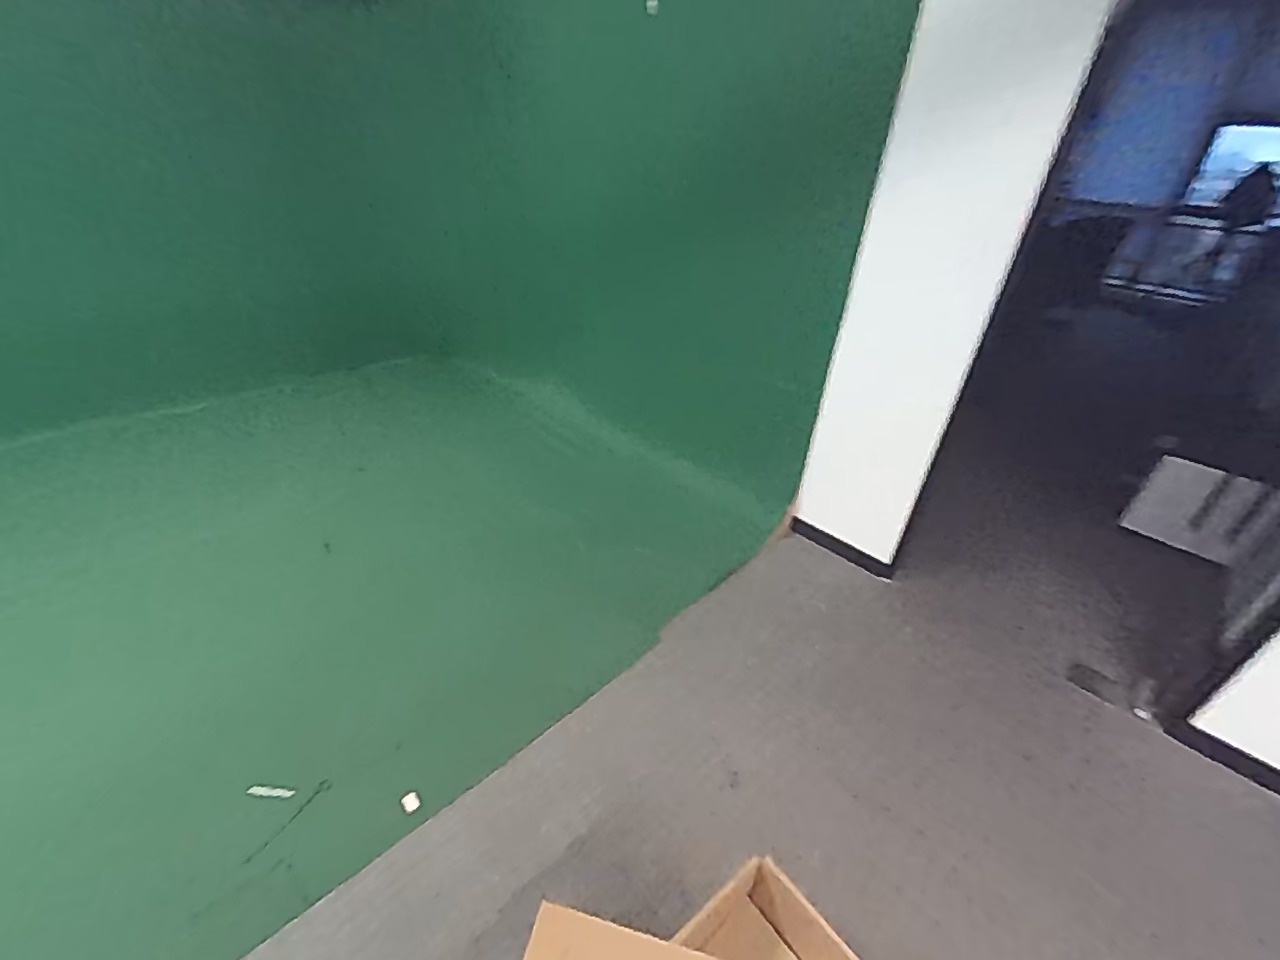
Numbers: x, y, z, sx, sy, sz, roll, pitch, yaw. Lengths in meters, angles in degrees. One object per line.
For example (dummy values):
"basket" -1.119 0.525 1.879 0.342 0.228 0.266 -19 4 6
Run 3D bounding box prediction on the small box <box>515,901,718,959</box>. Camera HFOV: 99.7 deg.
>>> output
"small box" -0.033 0.484 0.429 0.168 0.176 0.179 10 40 9
